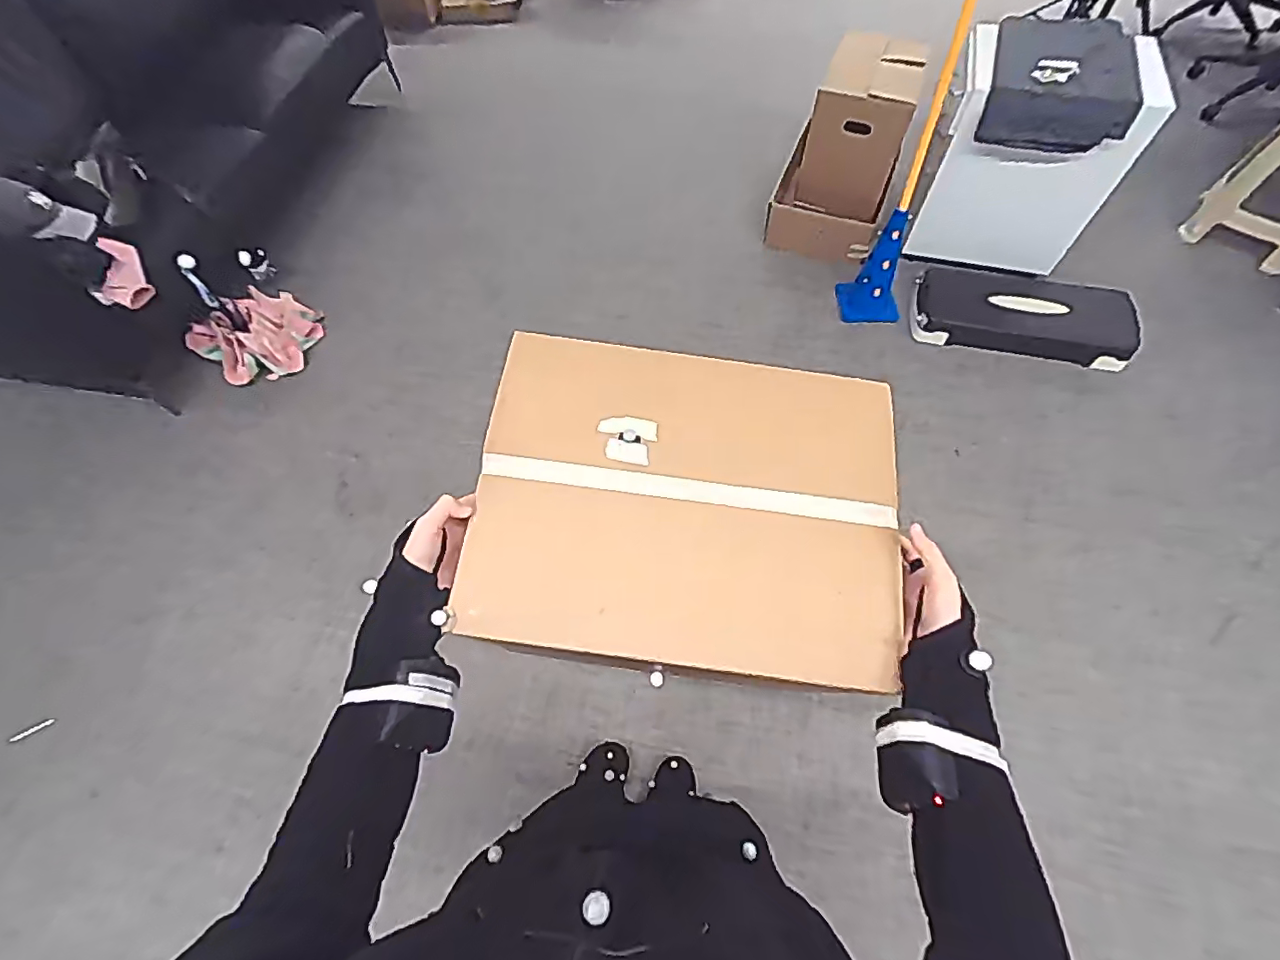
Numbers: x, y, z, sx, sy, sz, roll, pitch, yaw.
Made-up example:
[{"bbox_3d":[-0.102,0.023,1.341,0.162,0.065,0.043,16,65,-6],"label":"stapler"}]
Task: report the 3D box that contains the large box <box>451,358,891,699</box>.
[{"bbox_3d":[0.040,0.083,0.673,0.408,0.320,0.320,8,68,0],"label":"large box"}]
